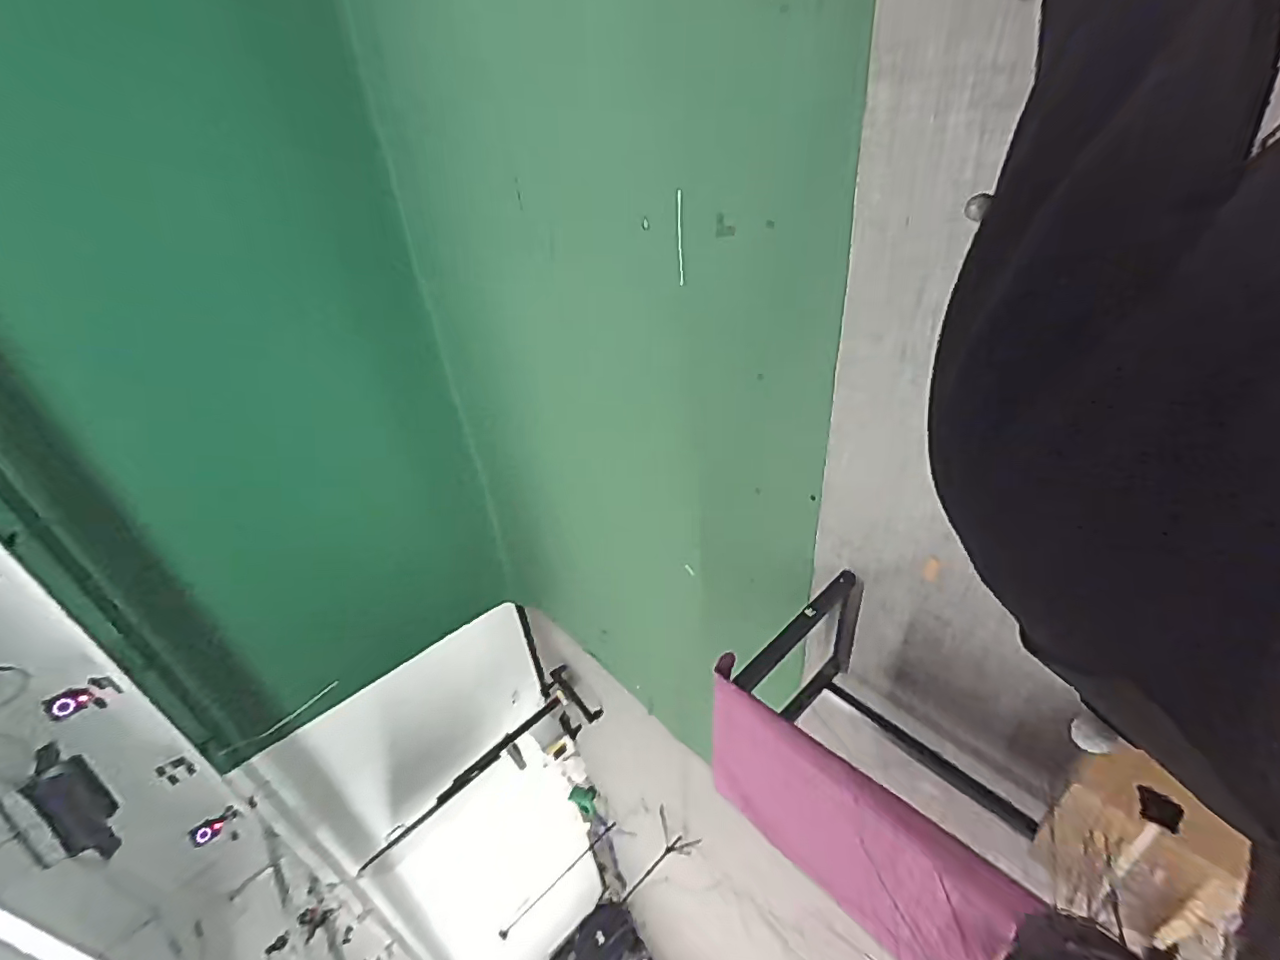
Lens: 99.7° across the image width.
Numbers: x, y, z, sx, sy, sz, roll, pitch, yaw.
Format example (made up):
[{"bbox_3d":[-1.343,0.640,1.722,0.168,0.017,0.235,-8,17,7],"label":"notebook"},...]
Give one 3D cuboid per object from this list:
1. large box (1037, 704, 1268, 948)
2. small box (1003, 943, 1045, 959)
[{"bbox_3d":[1.336,0.900,1.436,0.320,0.320,0.408,27,134,41],"label":"large box"},{"bbox_3d":[0.802,1.102,1.090,0.168,0.176,0.179,29,137,41],"label":"small box"}]
